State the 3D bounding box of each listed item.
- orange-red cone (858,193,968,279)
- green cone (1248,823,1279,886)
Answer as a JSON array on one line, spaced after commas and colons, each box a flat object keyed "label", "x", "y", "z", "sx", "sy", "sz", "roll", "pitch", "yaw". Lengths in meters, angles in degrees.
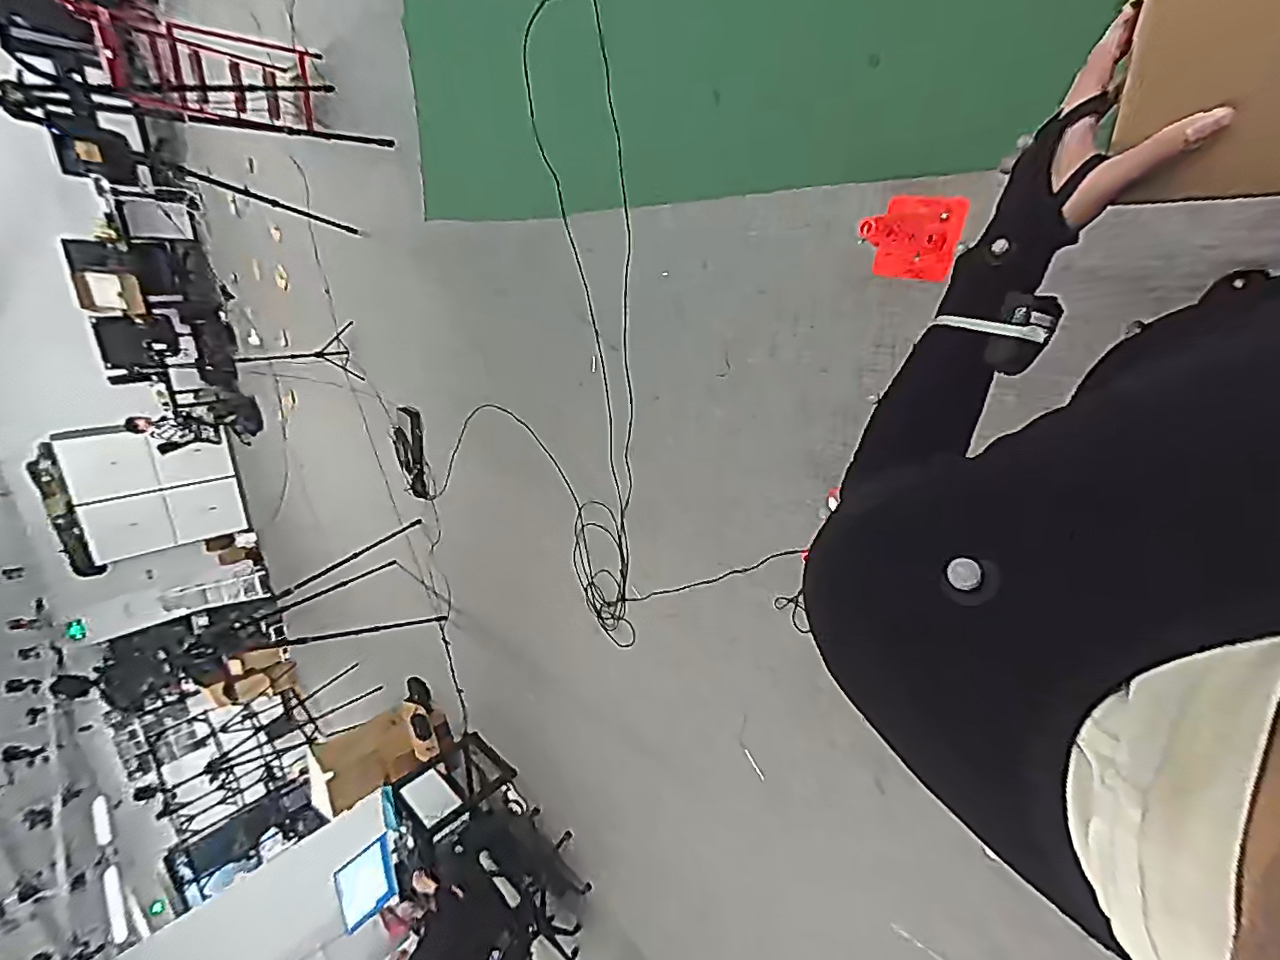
[{"label": "orange-red cone", "x": 0.617, "y": -0.607, "z": 1.312, "sx": 0.199, "sy": 0.360, "sz": 0.198, "roll": 28, "pitch": 121, "yaw": 37}, {"label": "green cone", "x": 1.409, "y": 0.904, "z": 1.073, "sx": 0.200, "sy": 0.368, "sz": 0.202, "roll": 25, "pitch": 119, "yaw": 36}]
